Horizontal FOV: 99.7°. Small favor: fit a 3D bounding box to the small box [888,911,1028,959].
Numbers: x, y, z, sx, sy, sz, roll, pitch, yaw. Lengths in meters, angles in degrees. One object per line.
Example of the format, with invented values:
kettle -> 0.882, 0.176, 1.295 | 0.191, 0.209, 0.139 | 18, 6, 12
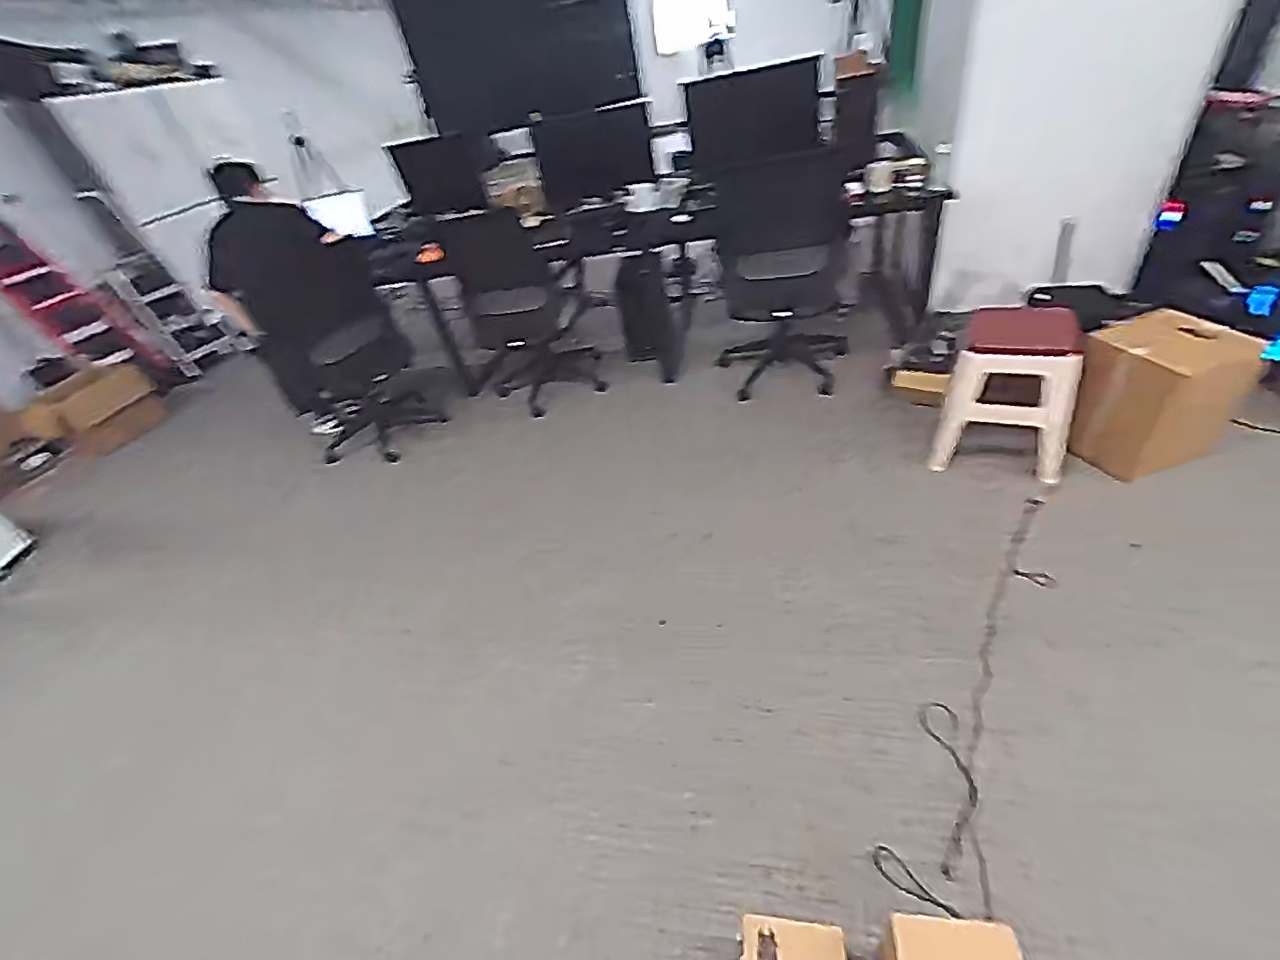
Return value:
small box -> 0.465, 0.762, 0.778 | 0.168, 0.176, 0.179 | -3, 40, 14
